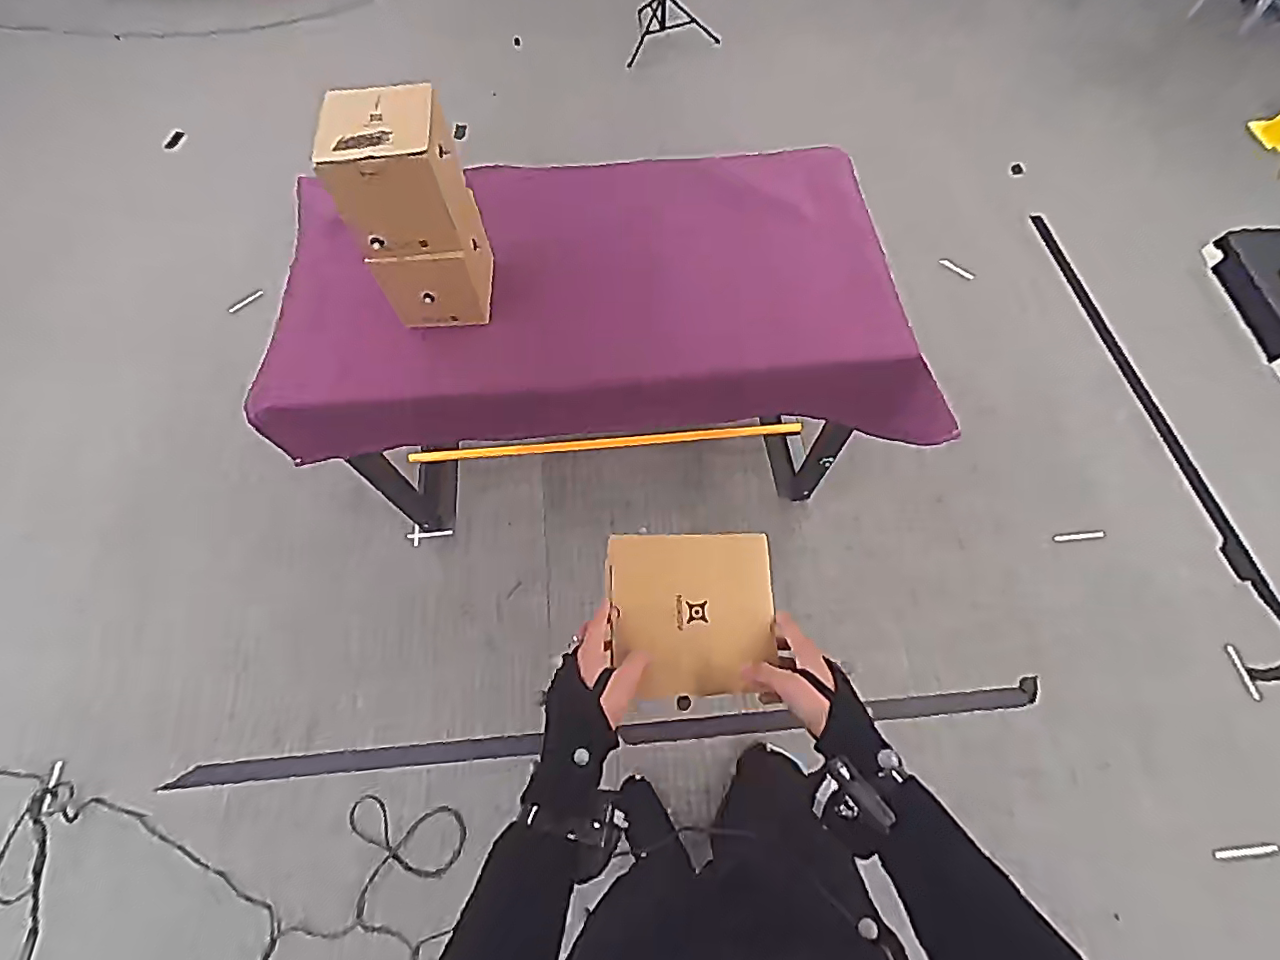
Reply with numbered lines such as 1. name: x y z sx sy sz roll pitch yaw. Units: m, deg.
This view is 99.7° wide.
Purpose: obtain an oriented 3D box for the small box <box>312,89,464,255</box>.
1. small box: -0.389 -0.483 0.868 0.168 0.176 0.179 -7 64 -3

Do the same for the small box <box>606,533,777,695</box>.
1. small box: 0.048 0.158 0.644 0.179 0.176 0.168 0 74 -3

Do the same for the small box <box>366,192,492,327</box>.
1. small box: -0.383 -0.403 1.012 0.168 0.176 0.179 -3 65 -1
